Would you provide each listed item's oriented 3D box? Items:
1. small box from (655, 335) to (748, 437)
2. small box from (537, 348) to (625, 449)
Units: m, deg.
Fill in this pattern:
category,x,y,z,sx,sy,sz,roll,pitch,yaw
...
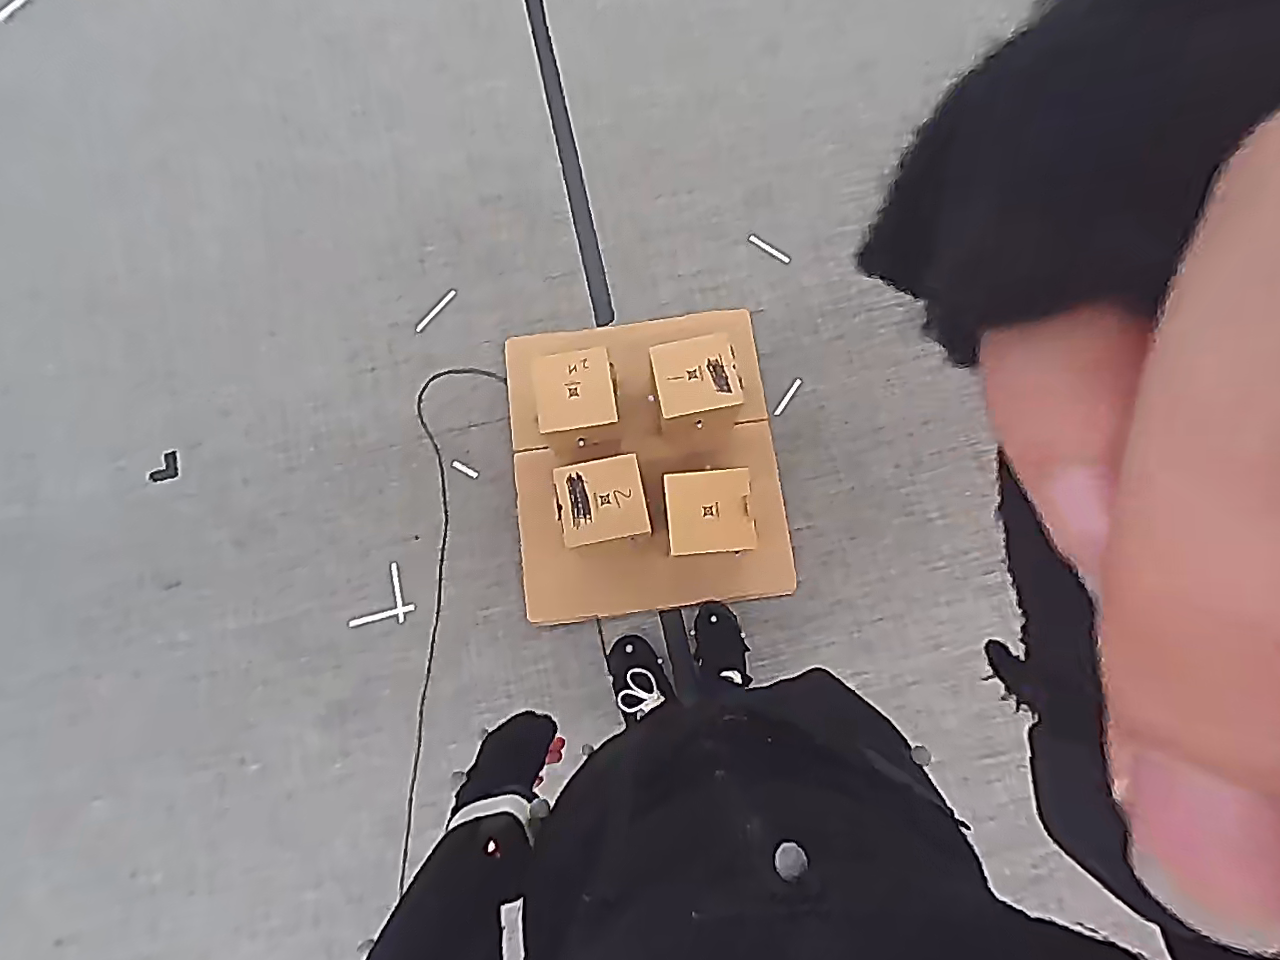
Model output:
category,x,y,z,sx,sy,sz,roll,pitch,yaw
small box,0.130,-0.204,1.214,0.179,0.176,0.168,-10,80,0
small box,-0.127,-0.174,1.218,0.168,0.176,0.179,-8,79,-1
